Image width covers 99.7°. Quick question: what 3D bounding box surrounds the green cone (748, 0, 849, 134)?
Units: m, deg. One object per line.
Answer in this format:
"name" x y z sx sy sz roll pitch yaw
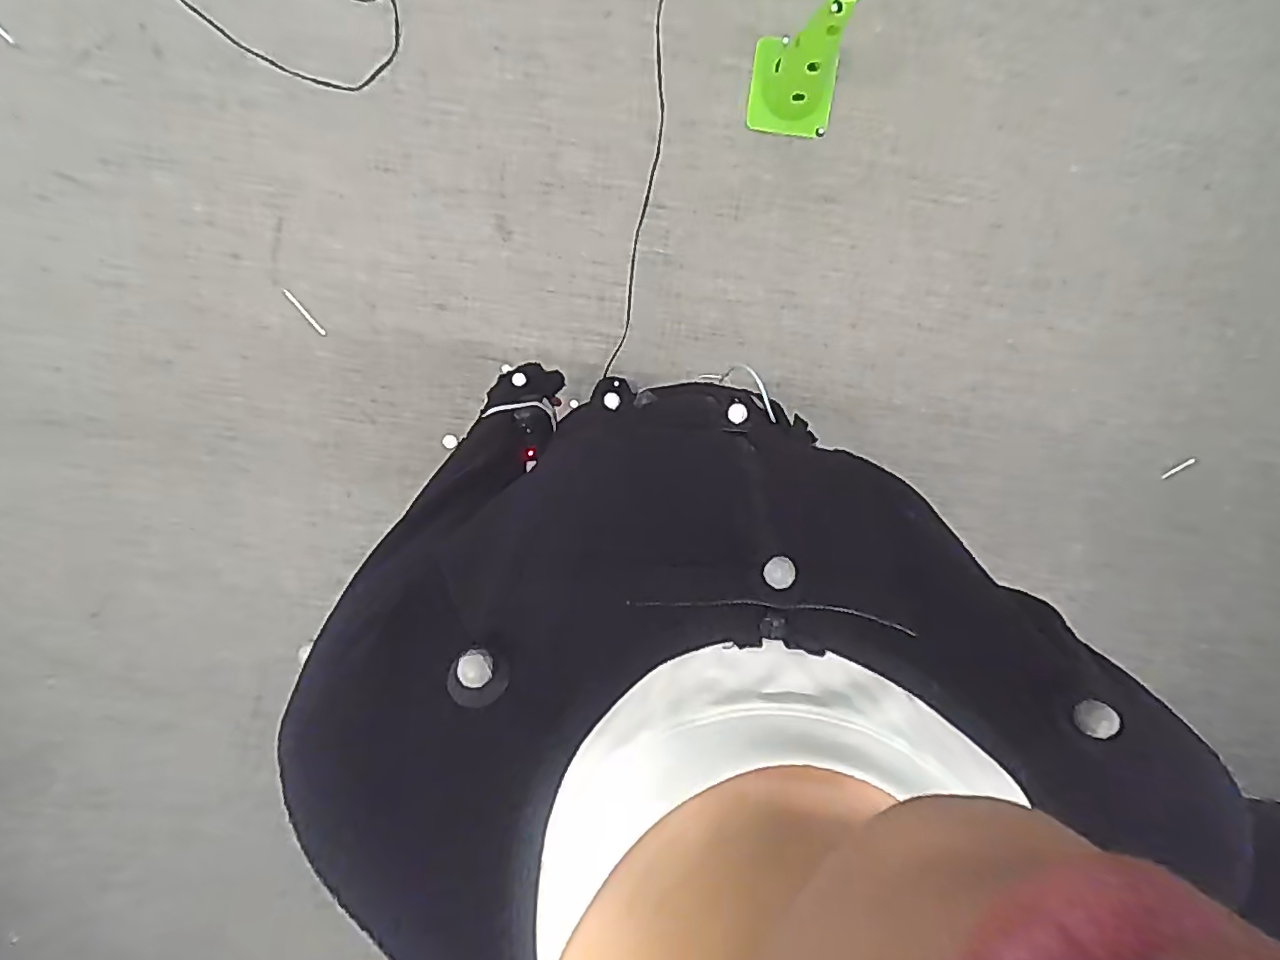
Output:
"green cone" 0.366 -0.912 1.122 0.202 0.368 0.200 6 101 -1
